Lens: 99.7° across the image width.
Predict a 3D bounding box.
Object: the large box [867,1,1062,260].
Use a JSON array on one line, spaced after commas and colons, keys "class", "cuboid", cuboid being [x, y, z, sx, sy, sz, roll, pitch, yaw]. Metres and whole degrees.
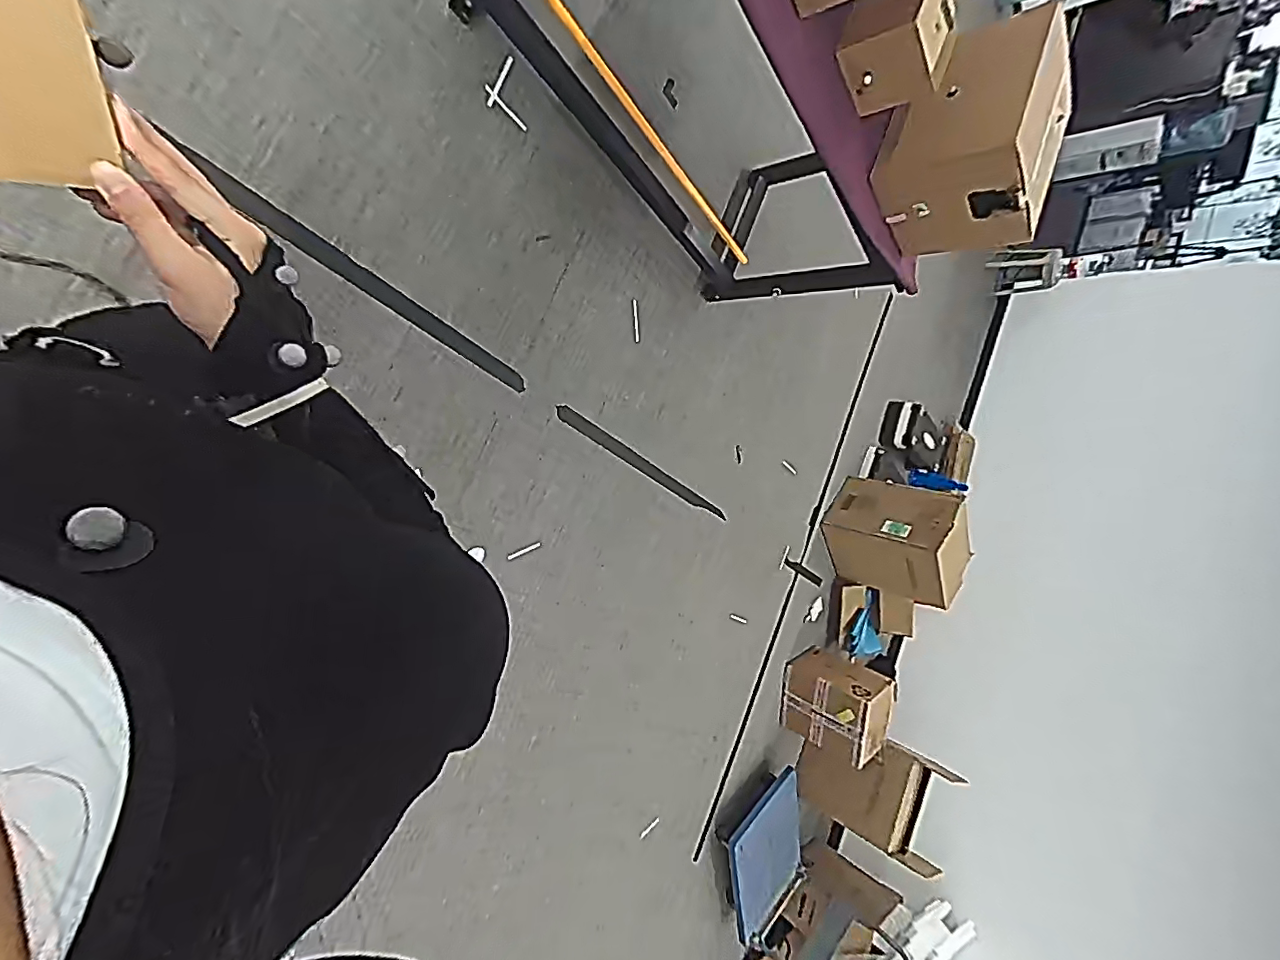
[{"class": "large box", "cuboid": [0.819, -0.837, 1.364, 0.320, 0.320, 0.408, 31, 76, -45]}]
